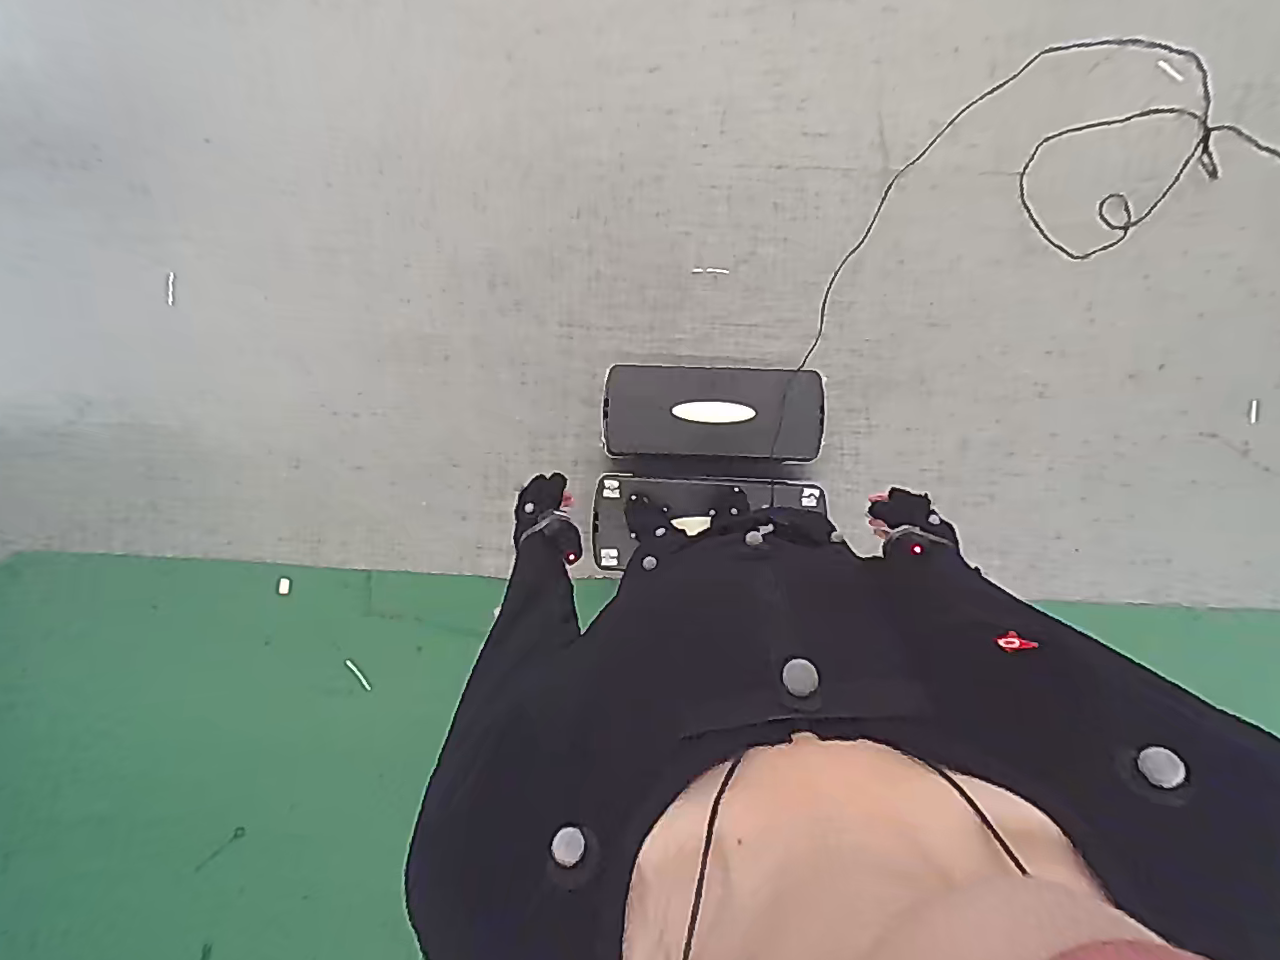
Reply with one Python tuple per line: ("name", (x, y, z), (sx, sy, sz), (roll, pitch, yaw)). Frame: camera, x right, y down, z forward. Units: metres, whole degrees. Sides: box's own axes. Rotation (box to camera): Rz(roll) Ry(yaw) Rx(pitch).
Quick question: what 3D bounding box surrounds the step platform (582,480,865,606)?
("step platform", (0.202, 0.153, 1.392), (0.684, 0.204, 0.286), (2, 89, 1))
